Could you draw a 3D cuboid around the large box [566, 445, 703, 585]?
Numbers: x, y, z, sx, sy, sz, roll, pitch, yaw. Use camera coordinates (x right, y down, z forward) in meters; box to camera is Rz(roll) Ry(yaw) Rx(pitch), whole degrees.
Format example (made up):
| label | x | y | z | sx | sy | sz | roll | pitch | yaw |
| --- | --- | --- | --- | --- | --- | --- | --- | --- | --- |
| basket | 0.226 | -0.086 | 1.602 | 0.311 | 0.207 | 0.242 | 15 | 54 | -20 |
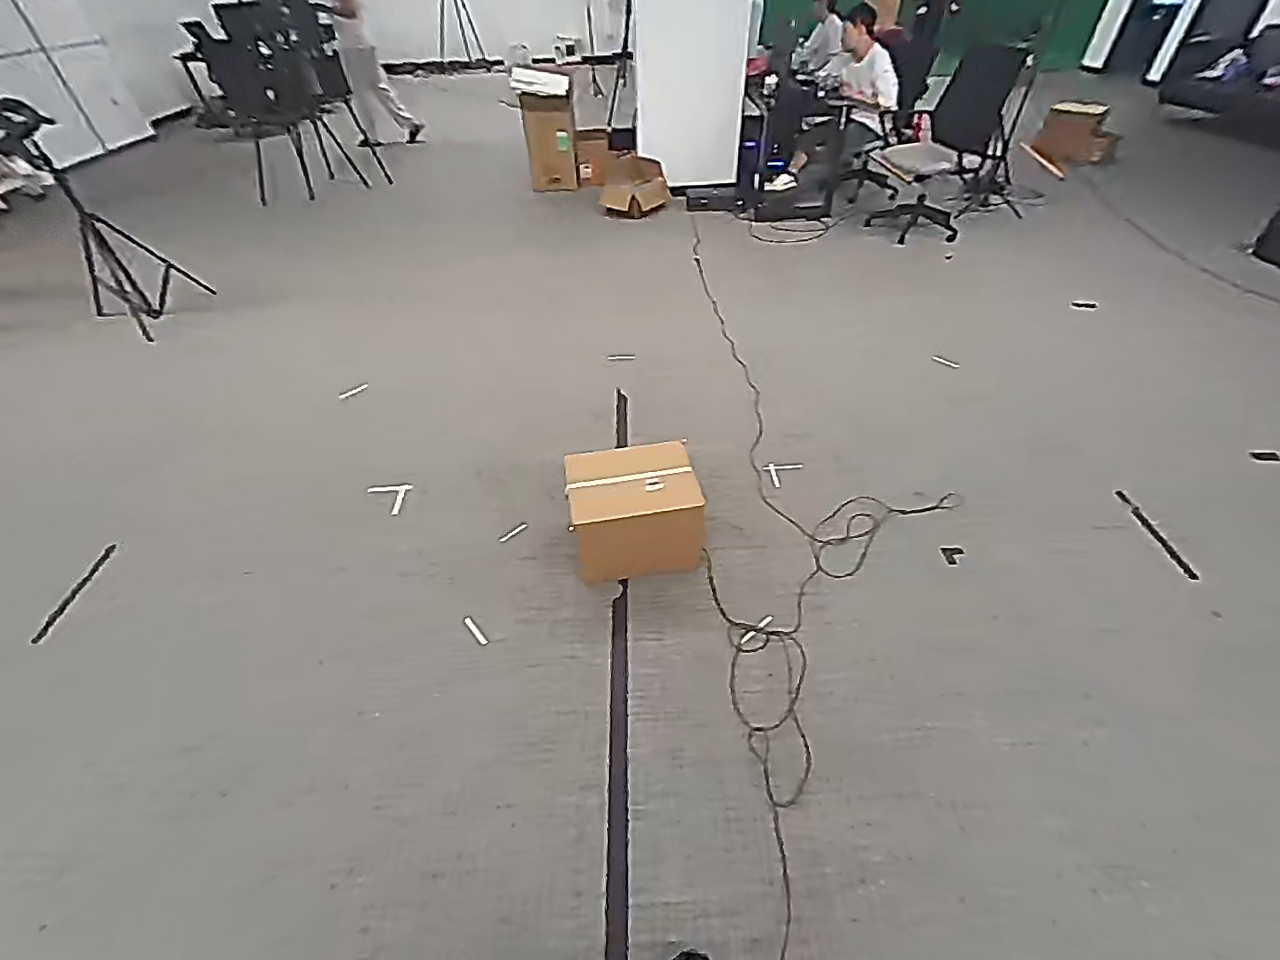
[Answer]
| label | x | y | z | sx | sy | sz | roll | pitch | yaw |
| --- | --- | --- | --- | --- | --- | --- | --- | --- | --- |
| large box | -0.027 | 0.117 | 1.820 | 0.408 | 0.320 | 0.320 | -7 | 44 | -6 |
